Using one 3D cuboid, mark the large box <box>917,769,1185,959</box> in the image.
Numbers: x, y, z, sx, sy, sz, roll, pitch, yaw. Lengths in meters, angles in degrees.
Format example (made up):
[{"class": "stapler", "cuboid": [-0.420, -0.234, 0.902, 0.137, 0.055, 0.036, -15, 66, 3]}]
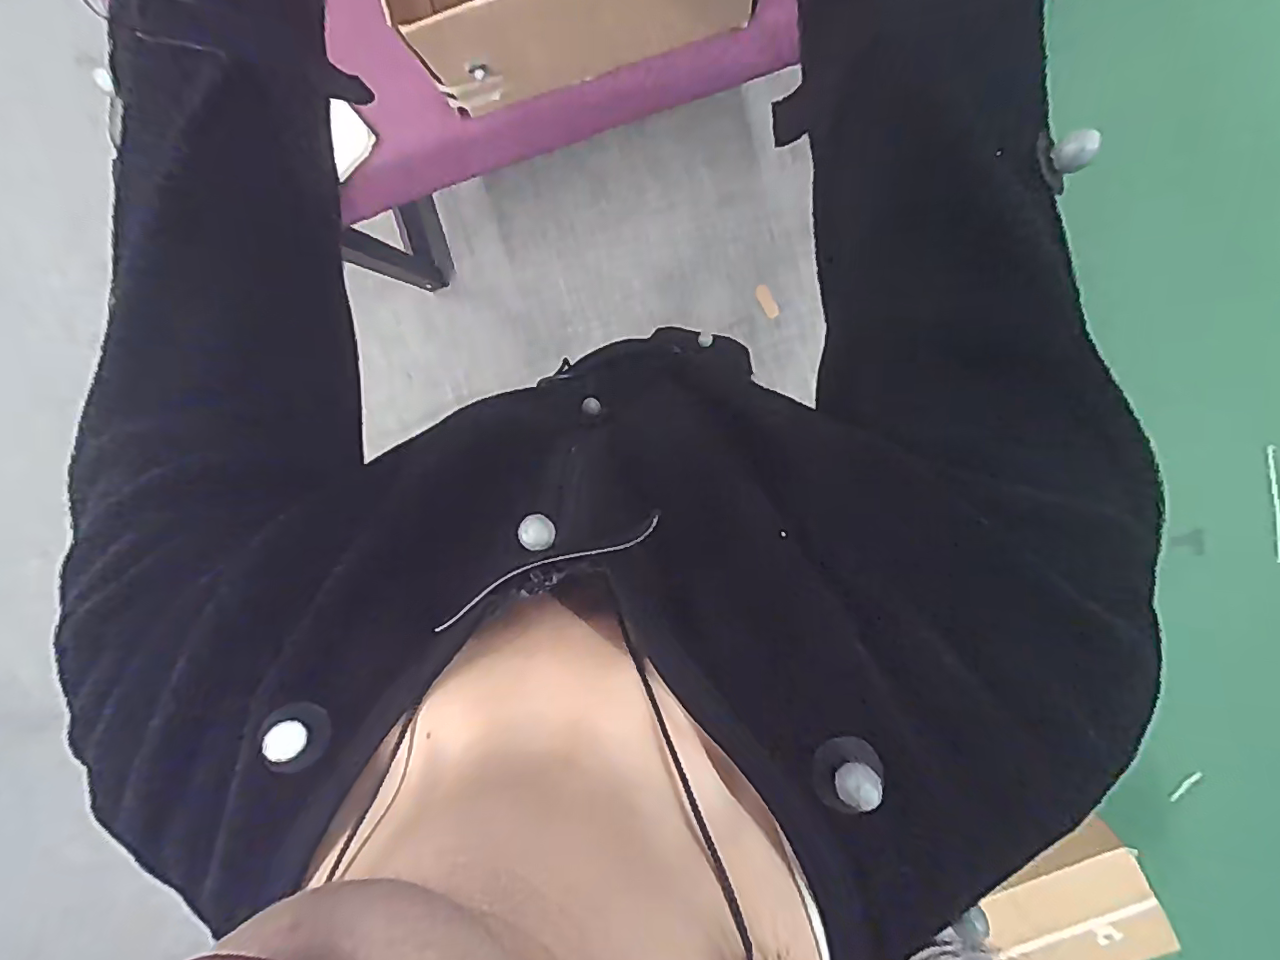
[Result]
[{"class": "large box", "cuboid": [1.040, 1.058, 1.422, 0.408, 0.320, 0.320, -29, 96, 8]}]
